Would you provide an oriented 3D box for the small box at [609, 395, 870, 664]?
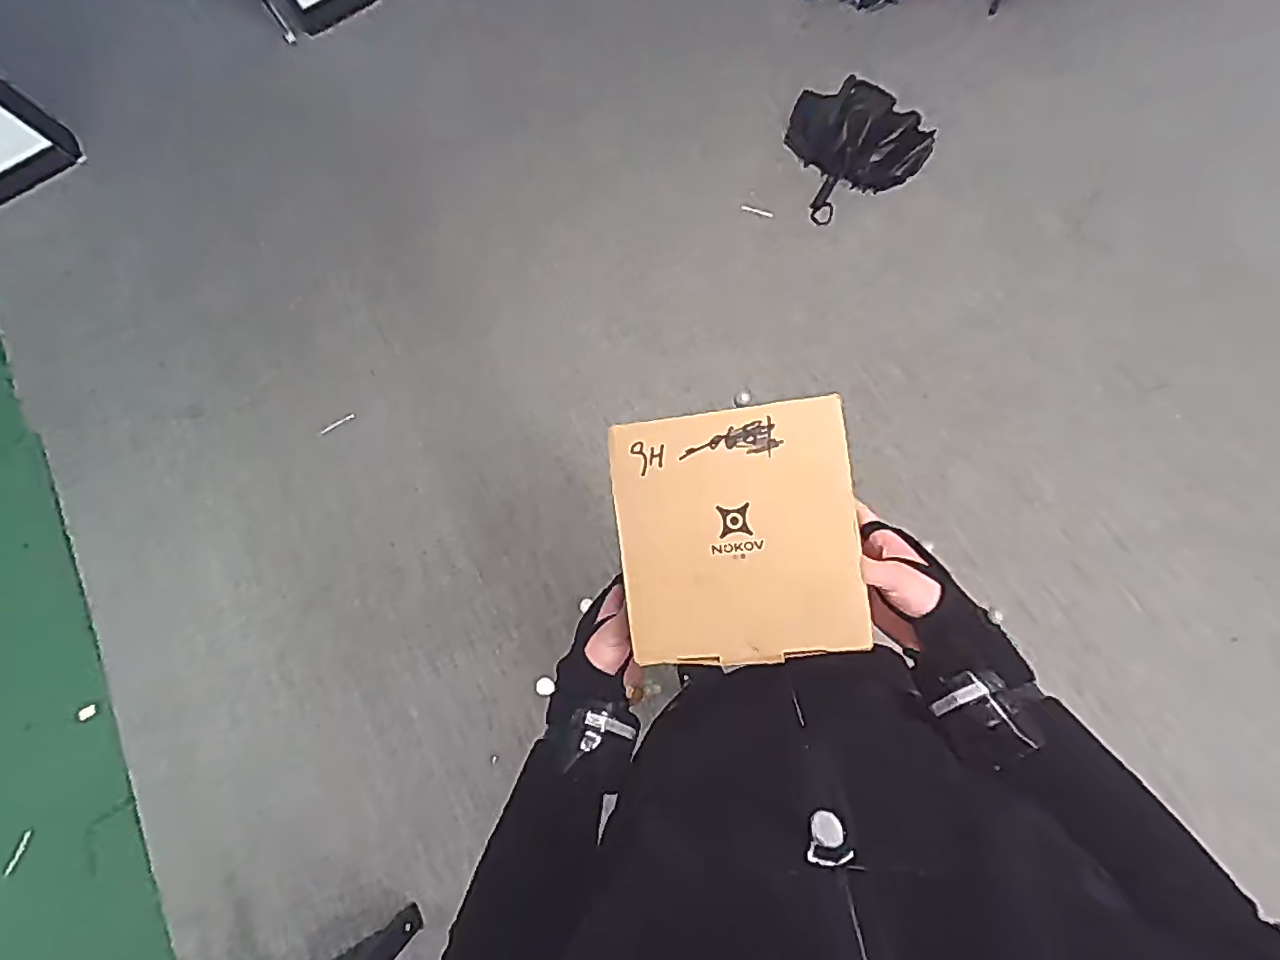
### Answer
[{"bbox_3d":[0.078,0.036,0.453,0.168,0.176,0.179,-7,89,7],"label":"small box"}]
